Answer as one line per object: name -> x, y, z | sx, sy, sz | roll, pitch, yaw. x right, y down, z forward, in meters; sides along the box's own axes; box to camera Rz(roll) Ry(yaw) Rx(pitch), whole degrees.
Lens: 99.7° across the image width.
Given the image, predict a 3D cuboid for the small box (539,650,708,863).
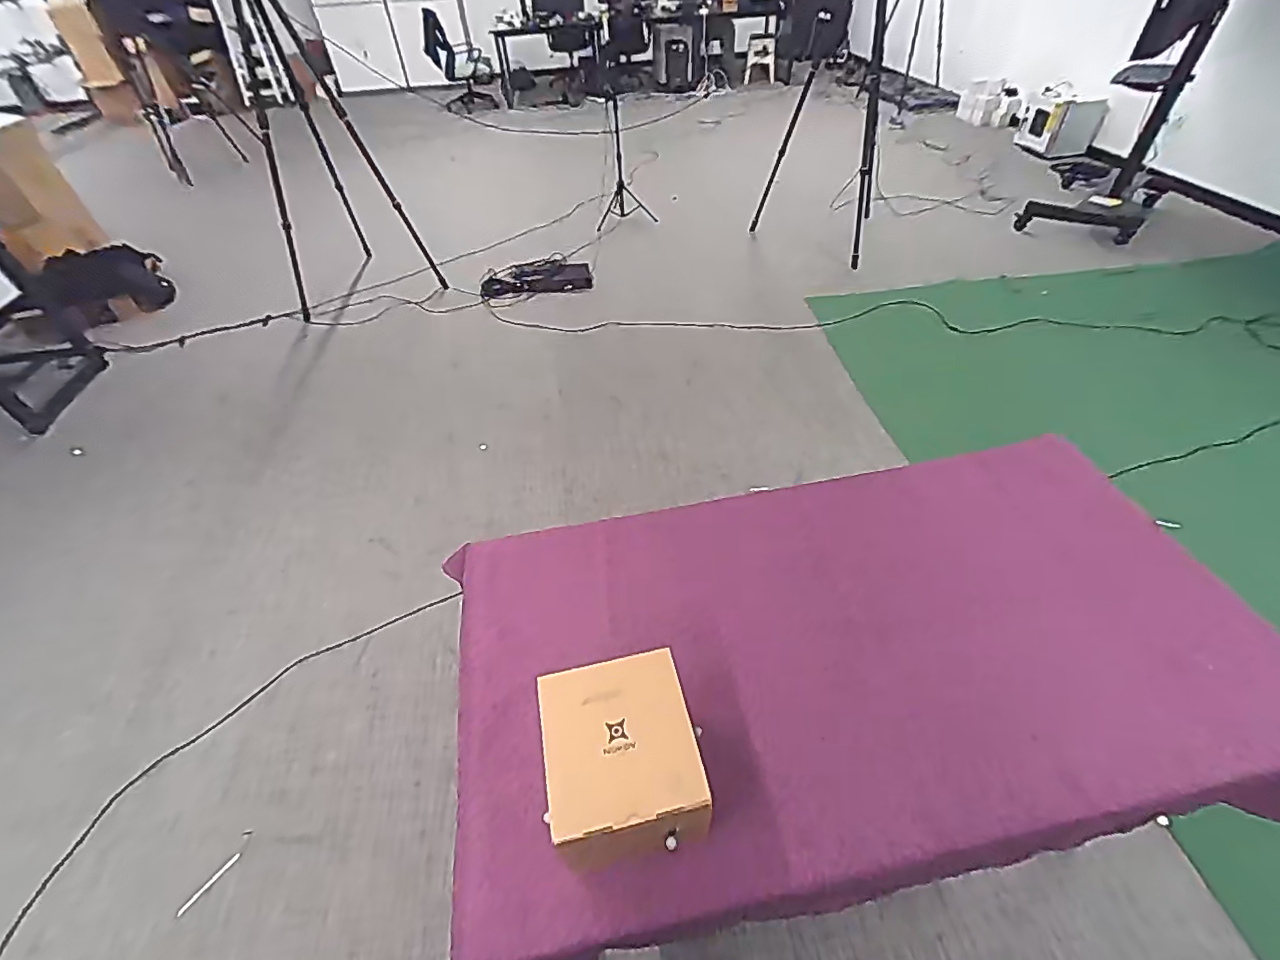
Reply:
small box -> -0.022, 0.337, 0.653 | 0.168, 0.176, 0.179 | -10, 45, -7
